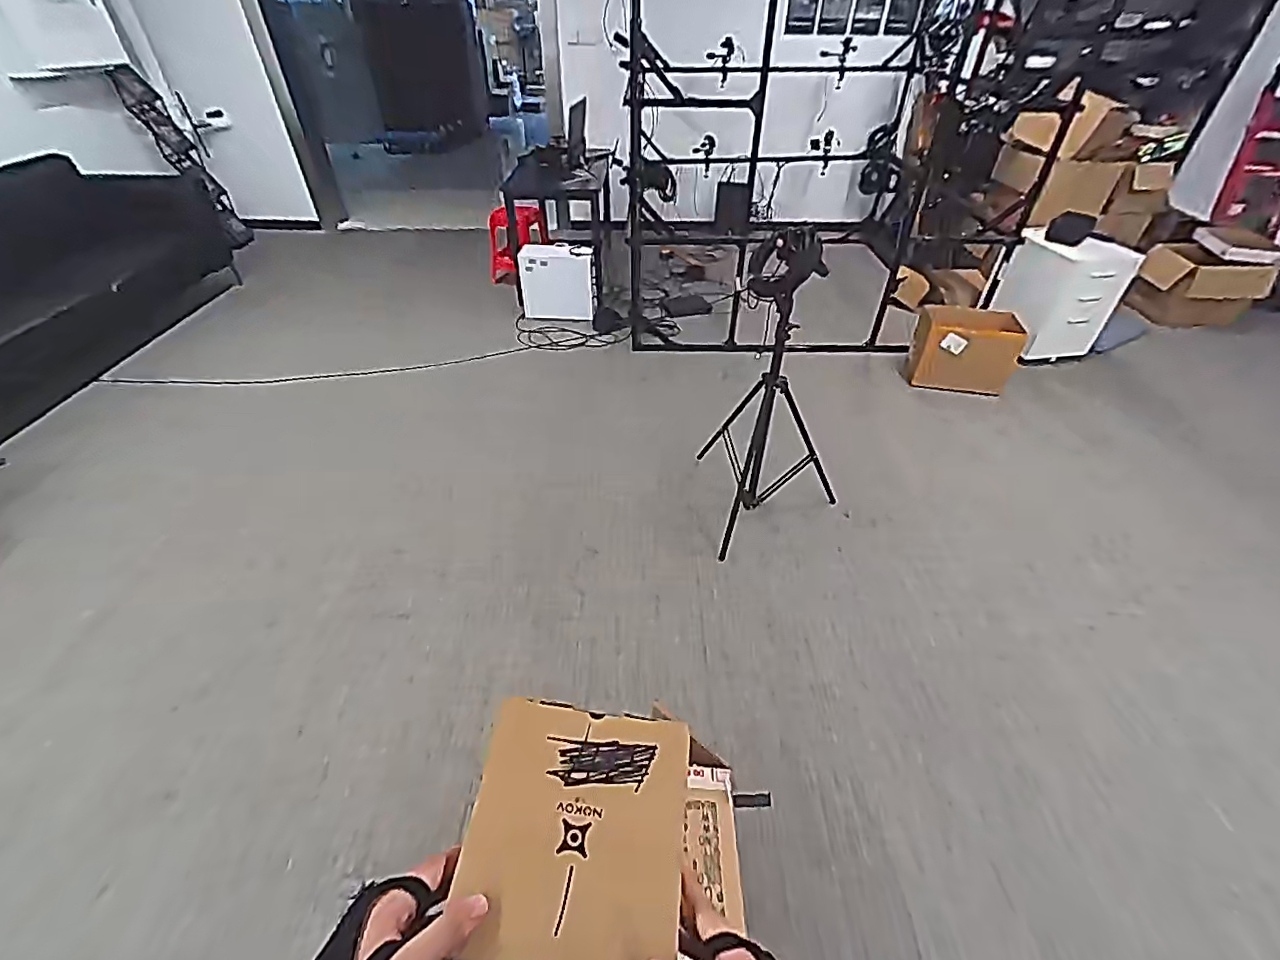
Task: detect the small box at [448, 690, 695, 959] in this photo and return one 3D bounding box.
[{"bbox_3d":[-0.049,0.314,0.479,0.168,0.176,0.179,8,48,1],"label":"small box"}]
